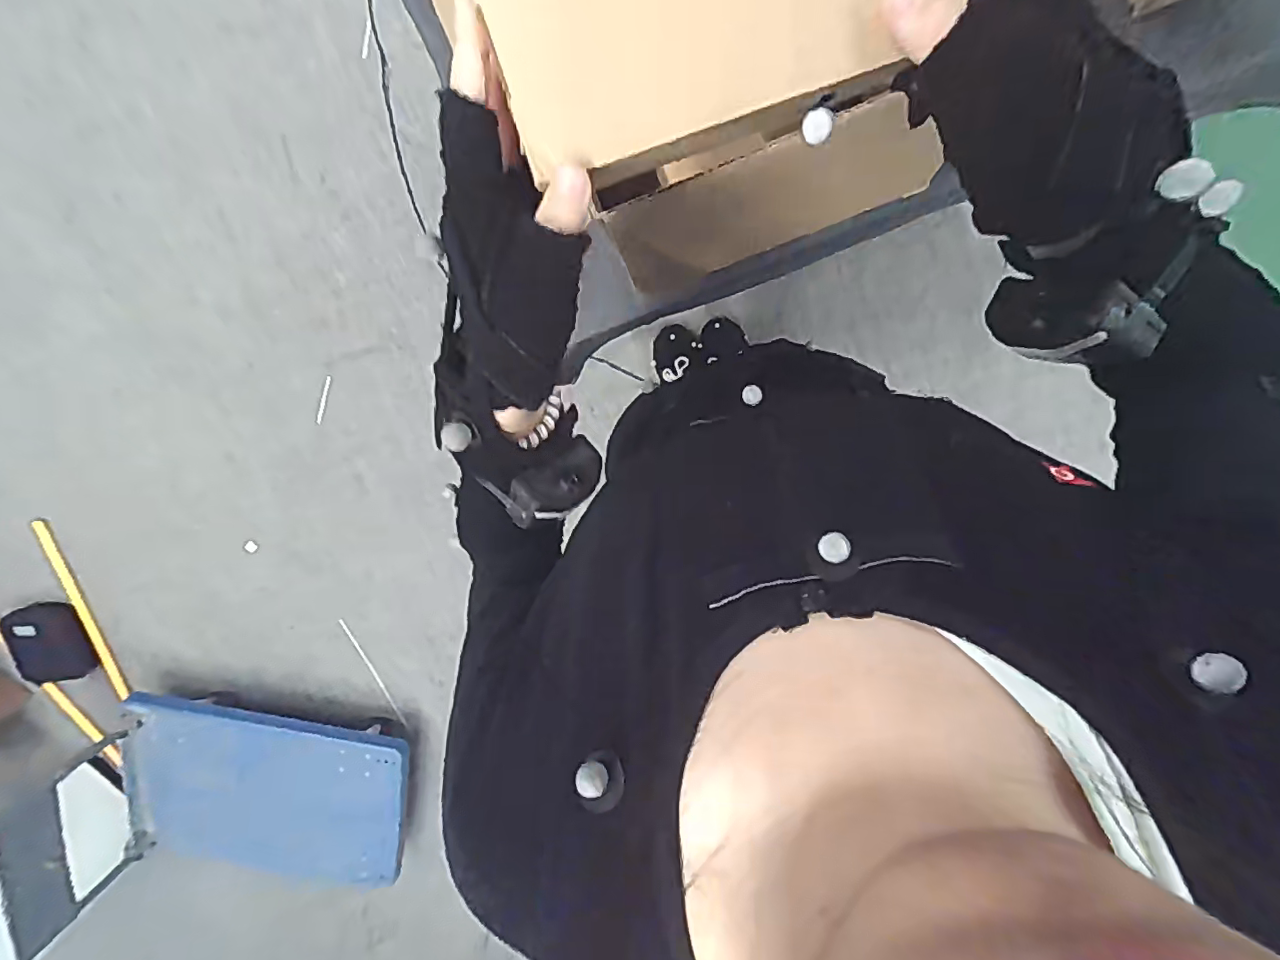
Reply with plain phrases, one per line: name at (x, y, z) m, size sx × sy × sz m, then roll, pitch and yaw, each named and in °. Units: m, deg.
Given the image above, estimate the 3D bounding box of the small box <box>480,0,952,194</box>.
small box at (0.012, -0.250, 0.254) m, size 0.179 × 0.176 × 0.168 m, roll -17°, pitch 115°, yaw 3°
